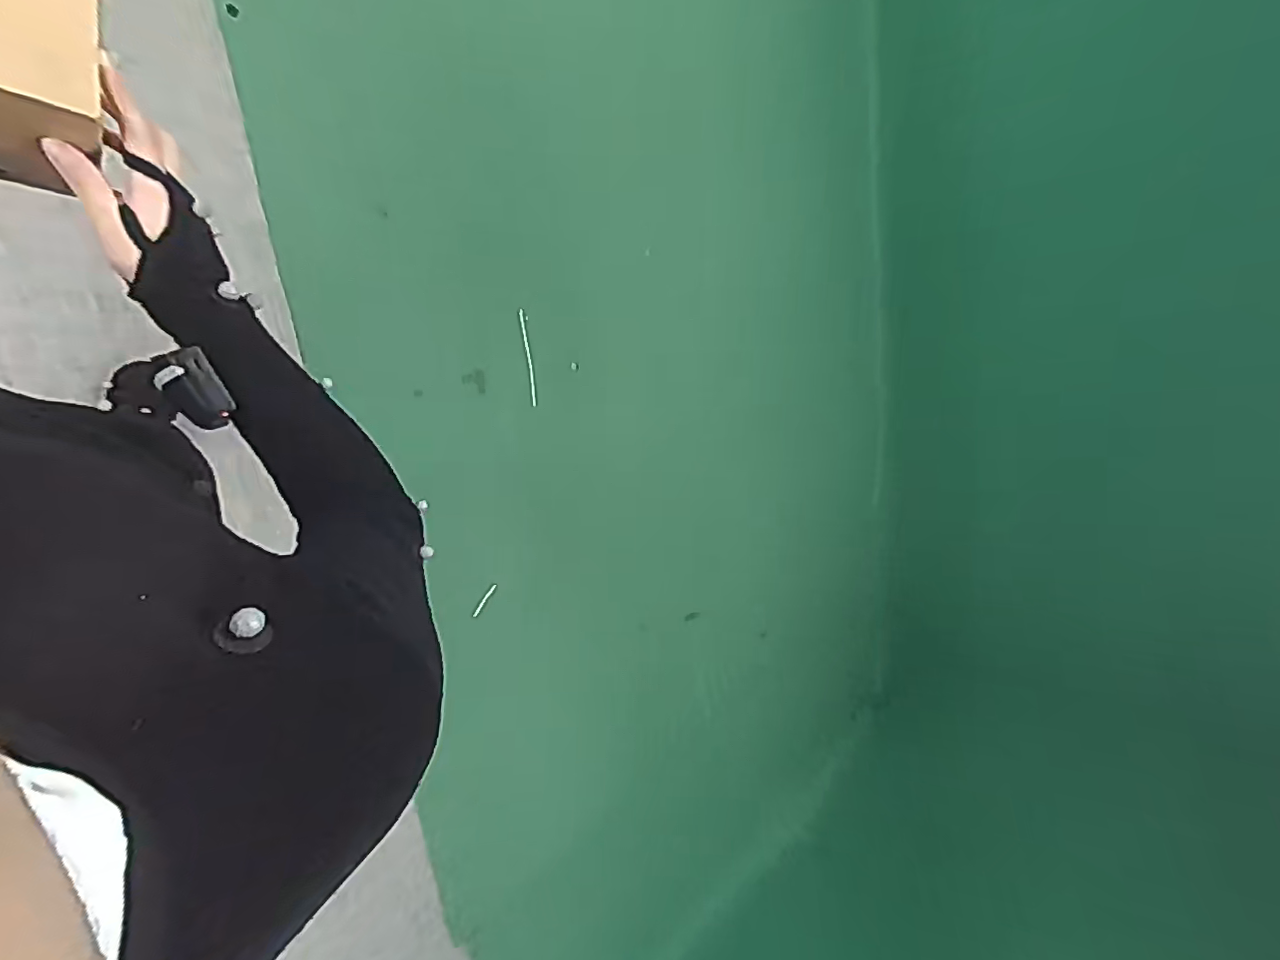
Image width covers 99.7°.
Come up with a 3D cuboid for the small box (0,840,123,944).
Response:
[{"bbox_3d":[-1.208,0.892,1.117,0.168,0.176,0.179,-17,107,-37],"label":"small box"}]

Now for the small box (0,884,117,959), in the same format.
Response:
[{"bbox_3d":[-1.096,0.911,0.997,0.168,0.176,0.179,-11,104,-40],"label":"small box"}]
